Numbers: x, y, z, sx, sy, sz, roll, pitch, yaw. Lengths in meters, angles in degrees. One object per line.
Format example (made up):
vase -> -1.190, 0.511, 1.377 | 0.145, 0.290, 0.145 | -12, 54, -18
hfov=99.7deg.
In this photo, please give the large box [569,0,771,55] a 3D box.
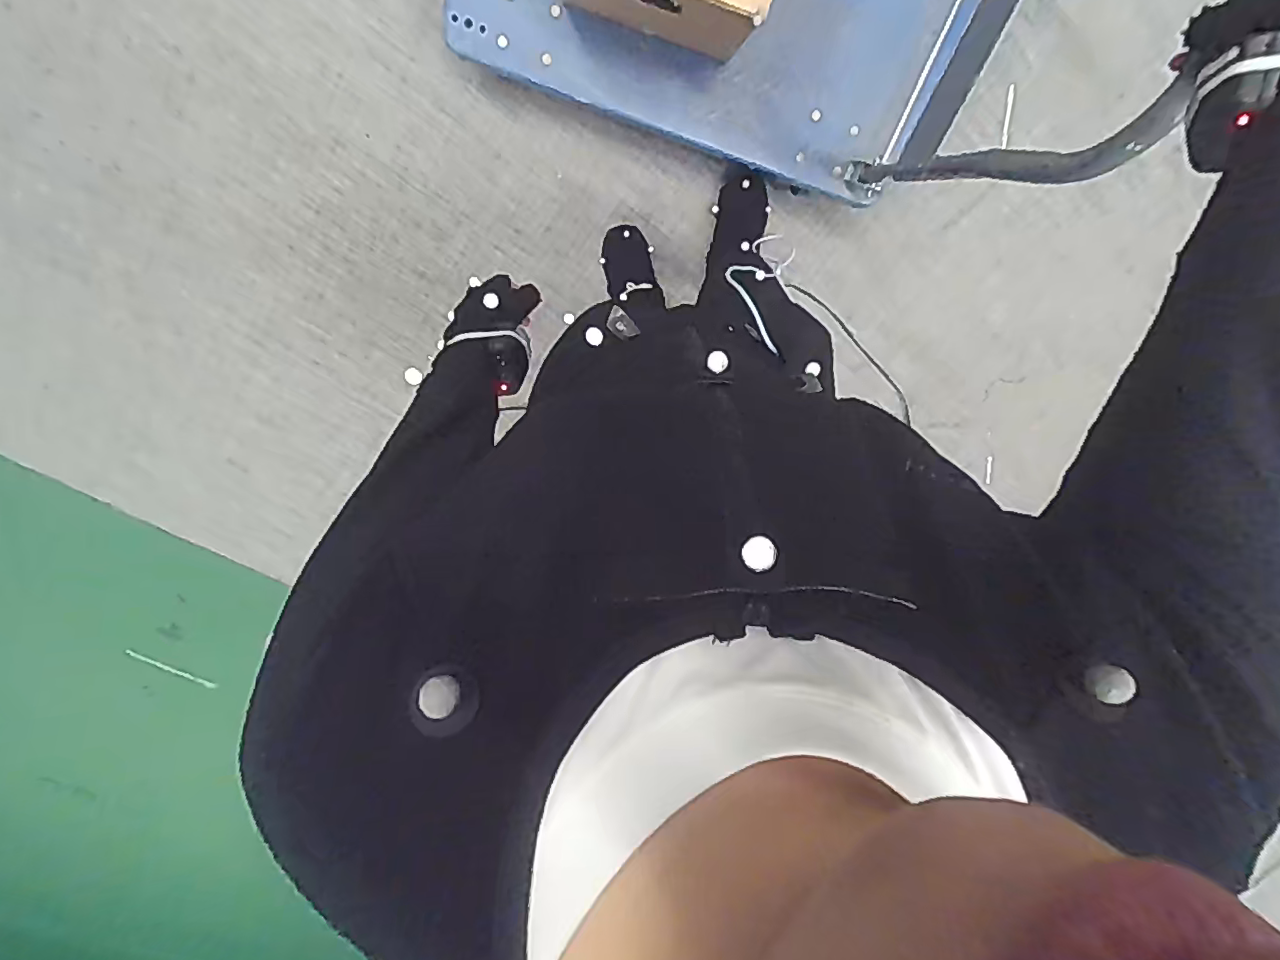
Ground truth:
large box -> 0.066, -0.882, 0.725 | 0.320, 0.320, 0.408 | 14, 120, -7
